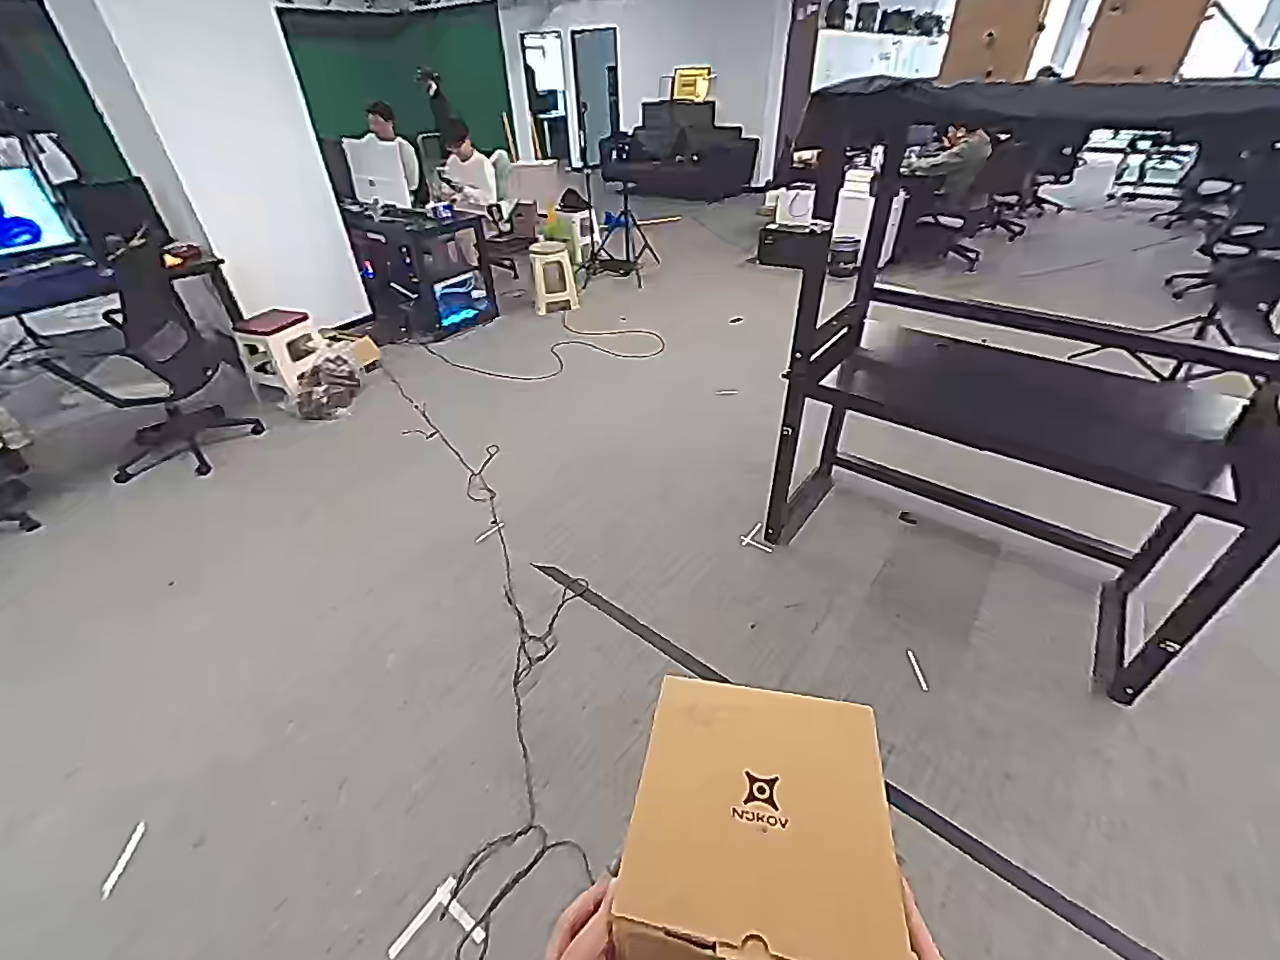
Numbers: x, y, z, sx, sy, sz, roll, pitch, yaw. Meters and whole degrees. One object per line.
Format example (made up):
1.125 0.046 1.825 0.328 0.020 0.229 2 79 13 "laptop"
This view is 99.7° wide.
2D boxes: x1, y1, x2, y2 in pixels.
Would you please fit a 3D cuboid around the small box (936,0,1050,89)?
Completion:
0.766 -0.958 1.175 0.168 0.176 0.179 22 42 26 "small box"

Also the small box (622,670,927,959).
0.089 0.276 0.397 0.168 0.176 0.179 4 31 13 "small box"
